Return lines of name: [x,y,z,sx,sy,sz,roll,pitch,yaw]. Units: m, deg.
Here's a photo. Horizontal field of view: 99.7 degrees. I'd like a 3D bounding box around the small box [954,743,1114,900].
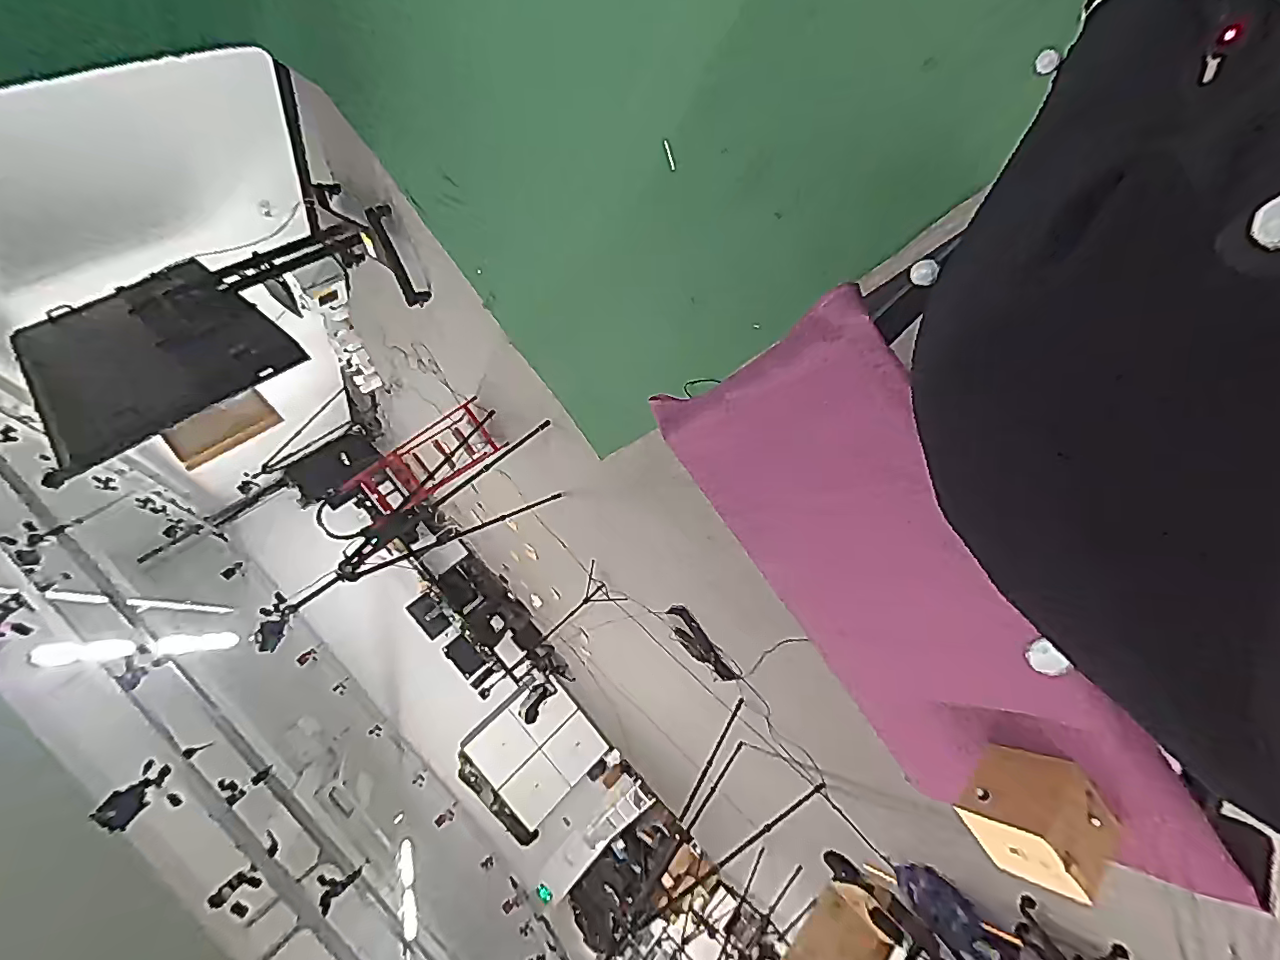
small box: [0.769,0.650,1.058,0.168,0.176,0.179,53,152,-5]
